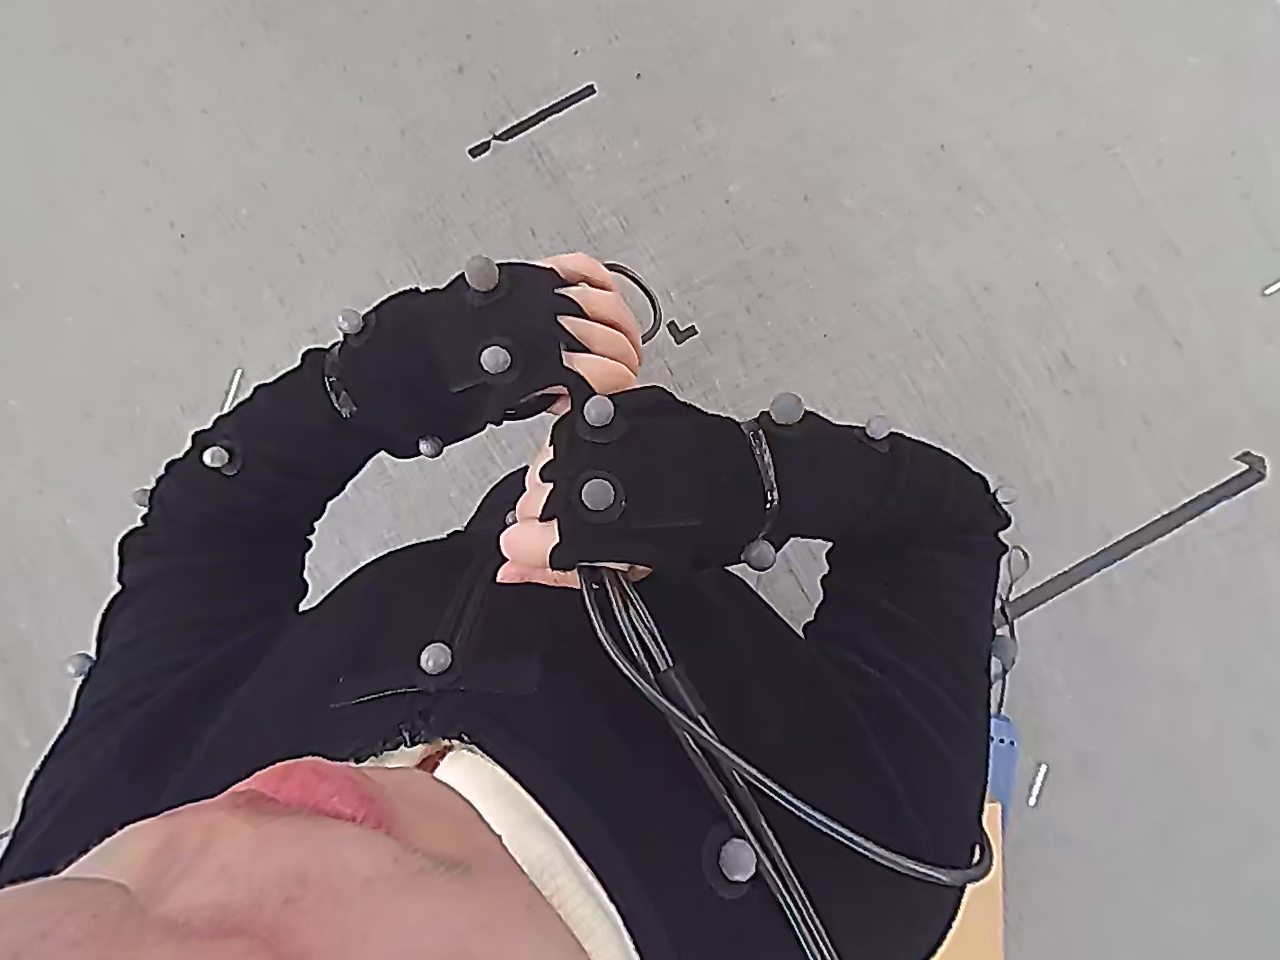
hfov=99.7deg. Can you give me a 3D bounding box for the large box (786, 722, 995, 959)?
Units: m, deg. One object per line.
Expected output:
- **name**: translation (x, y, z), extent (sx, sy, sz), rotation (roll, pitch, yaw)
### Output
- **large box**: translation (0.509, 0.784, 1.158), extent (0.320, 0.320, 0.408), rotation (0, 90, 1)
